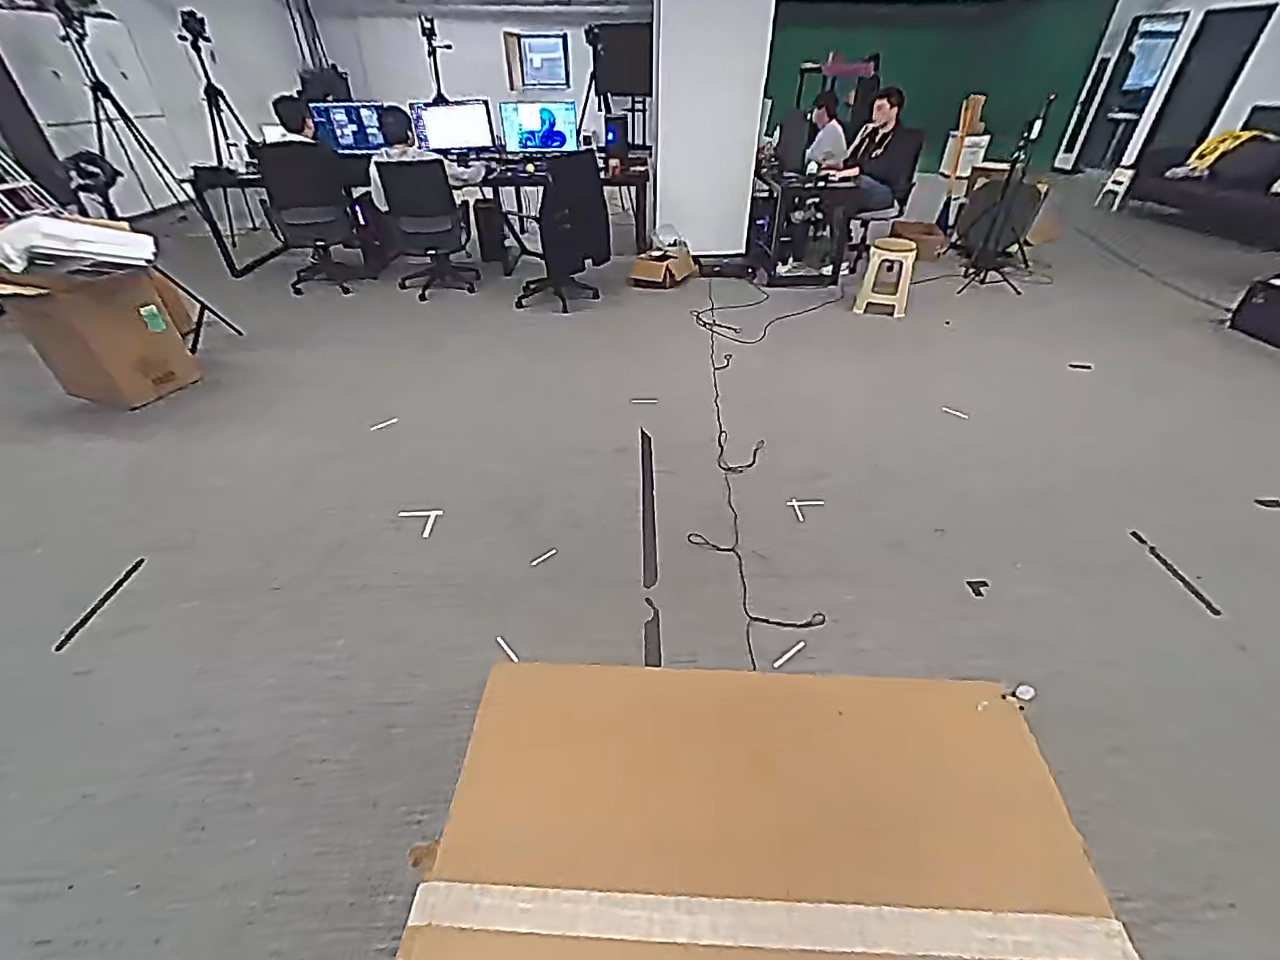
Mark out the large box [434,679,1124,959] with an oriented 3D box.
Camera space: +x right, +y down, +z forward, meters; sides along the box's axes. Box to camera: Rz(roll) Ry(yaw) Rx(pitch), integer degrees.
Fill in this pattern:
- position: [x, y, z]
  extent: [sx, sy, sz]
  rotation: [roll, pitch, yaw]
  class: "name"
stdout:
- position: [0.079, 0.377, 0.420]
  extent: [0.408, 0.320, 0.320]
  rotation: [1, 43, 2]
  class: "large box"
